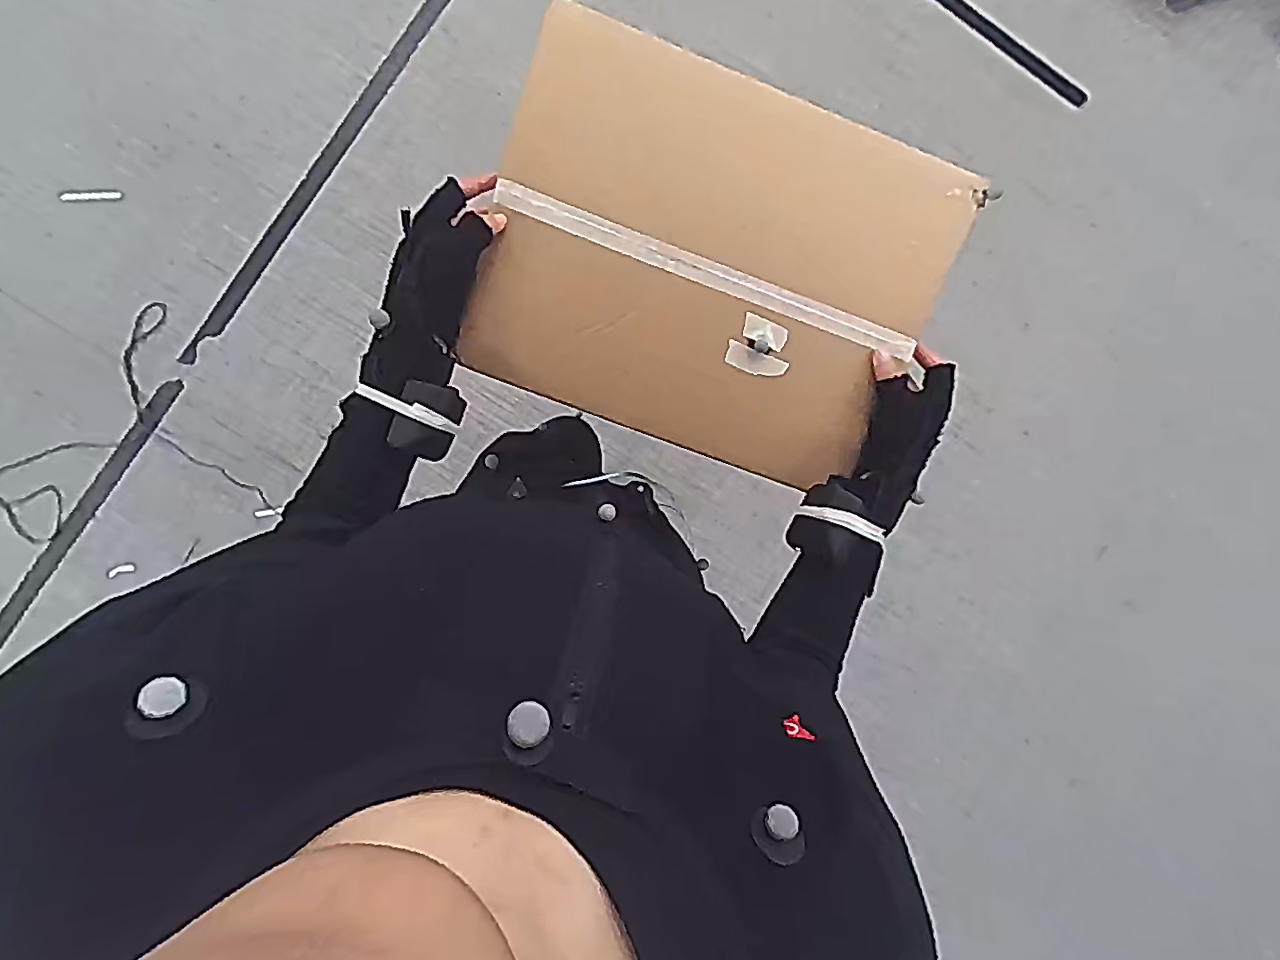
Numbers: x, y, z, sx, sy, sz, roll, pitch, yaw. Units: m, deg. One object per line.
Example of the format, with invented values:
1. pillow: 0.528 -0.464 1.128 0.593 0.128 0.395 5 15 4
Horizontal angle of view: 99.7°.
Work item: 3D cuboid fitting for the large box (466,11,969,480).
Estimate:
1. large box: 0.062 -0.232 0.650 0.408 0.320 0.320 19 103 -5
